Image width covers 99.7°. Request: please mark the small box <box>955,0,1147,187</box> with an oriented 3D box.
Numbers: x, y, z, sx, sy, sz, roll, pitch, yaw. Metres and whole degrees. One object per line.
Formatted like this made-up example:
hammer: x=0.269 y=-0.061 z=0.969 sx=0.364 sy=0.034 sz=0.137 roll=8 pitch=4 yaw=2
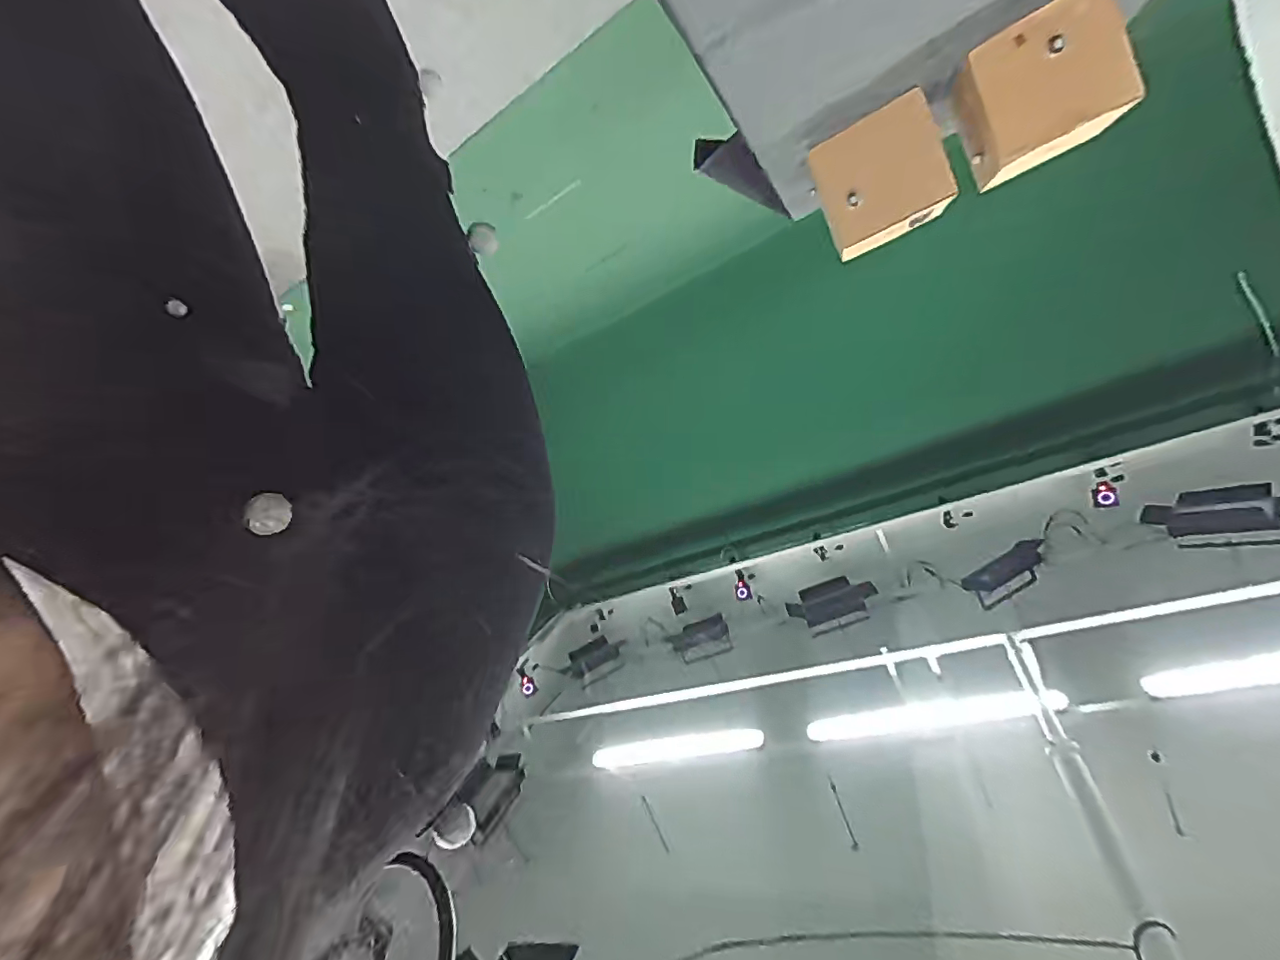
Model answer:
small box: x=0.589 y=-0.576 z=0.800 sx=0.168 sy=0.176 sz=0.179 roll=-21 pitch=-174 yaw=26
